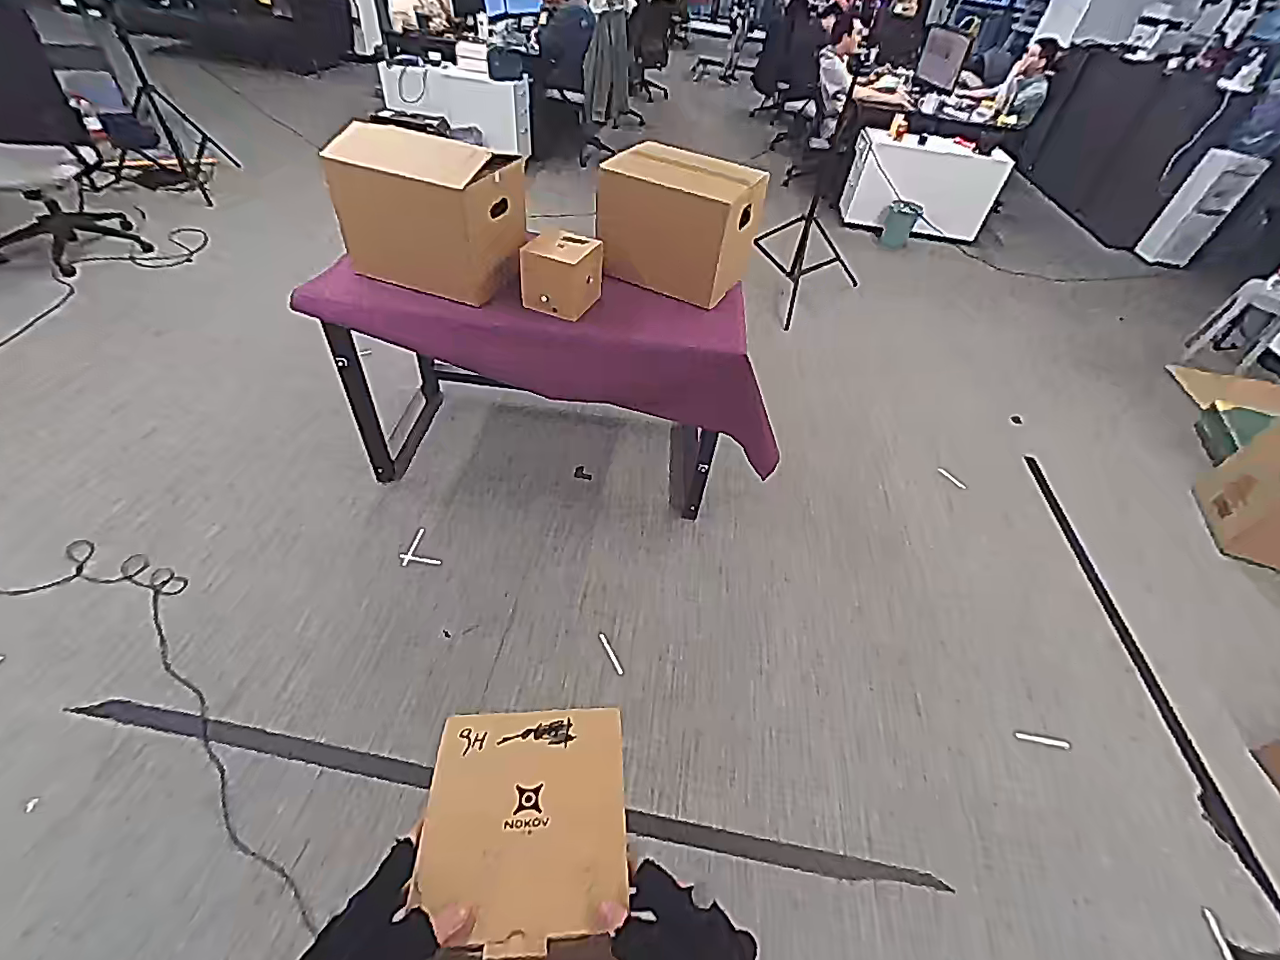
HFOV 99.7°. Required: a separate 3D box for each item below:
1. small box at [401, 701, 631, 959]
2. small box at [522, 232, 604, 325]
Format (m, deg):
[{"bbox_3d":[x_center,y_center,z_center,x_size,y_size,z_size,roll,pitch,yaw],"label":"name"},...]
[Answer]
[{"bbox_3d":[-0.094,0.329,0.493,0.168,0.176,0.179,-1,39,-5],"label":"small box"},{"bbox_3d":[-0.214,-0.563,1.512,0.168,0.176,0.179,19,47,11],"label":"small box"}]
